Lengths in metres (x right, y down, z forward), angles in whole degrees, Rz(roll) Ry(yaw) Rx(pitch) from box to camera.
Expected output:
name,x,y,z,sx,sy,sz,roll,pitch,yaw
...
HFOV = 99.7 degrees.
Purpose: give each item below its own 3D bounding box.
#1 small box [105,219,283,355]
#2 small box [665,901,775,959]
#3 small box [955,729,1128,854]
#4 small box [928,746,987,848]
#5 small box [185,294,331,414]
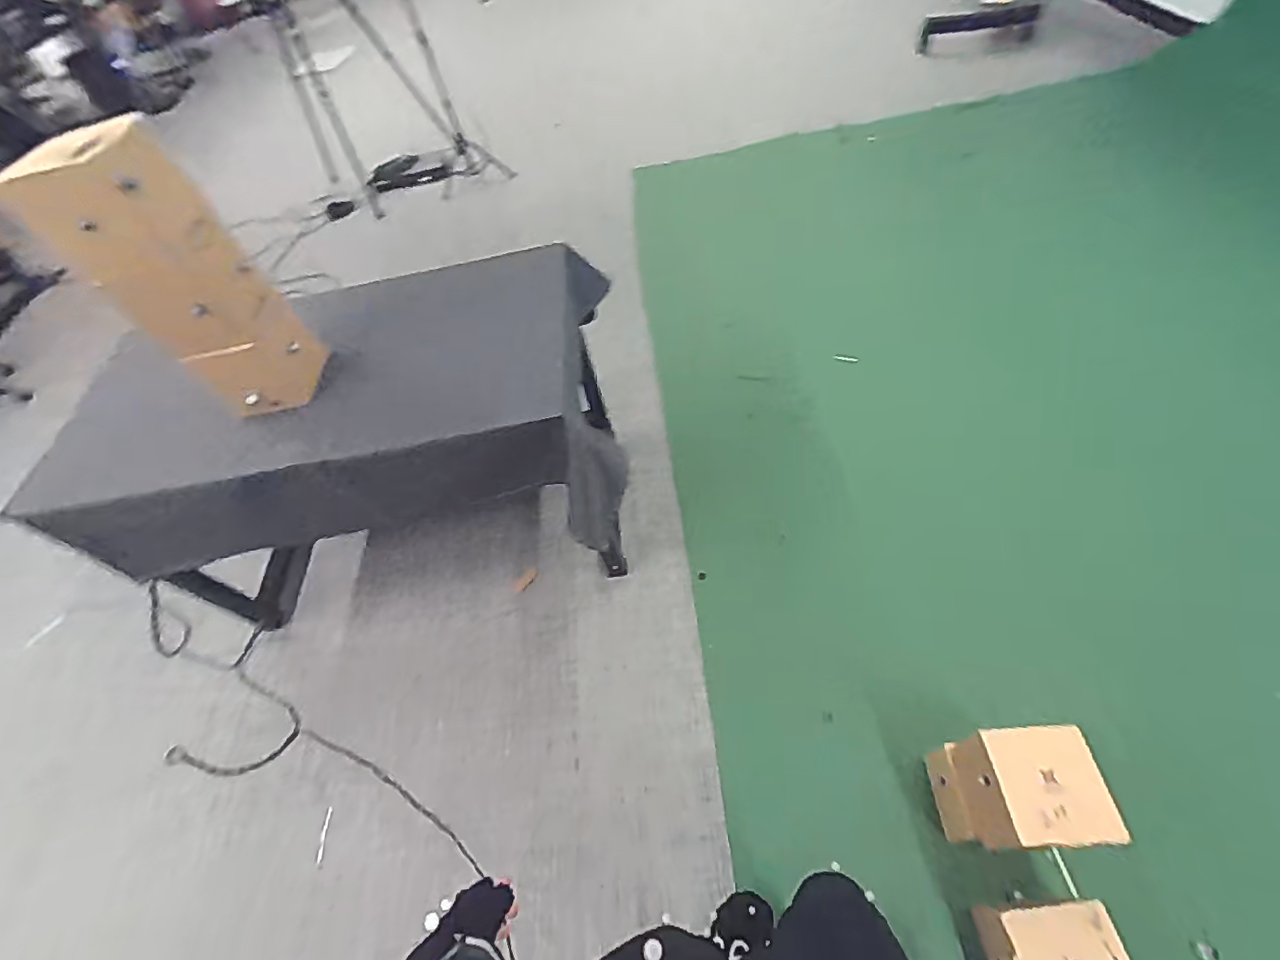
name,x,y,z,sx,sy,sz,roll,pitch,yaw
small box,-0.836,-0.366,1.039,0.179,0.176,0.168,-11,52,4
small box,0.166,0.943,1.020,0.168,0.176,0.179,-32,33,3
small box,0.696,0.560,0.968,0.168,0.176,0.179,-6,53,7
small box,0.712,0.650,1.105,0.179,0.176,0.168,-5,53,7
small box,-0.806,-0.269,1.166,0.168,0.176,0.179,-9,54,5
